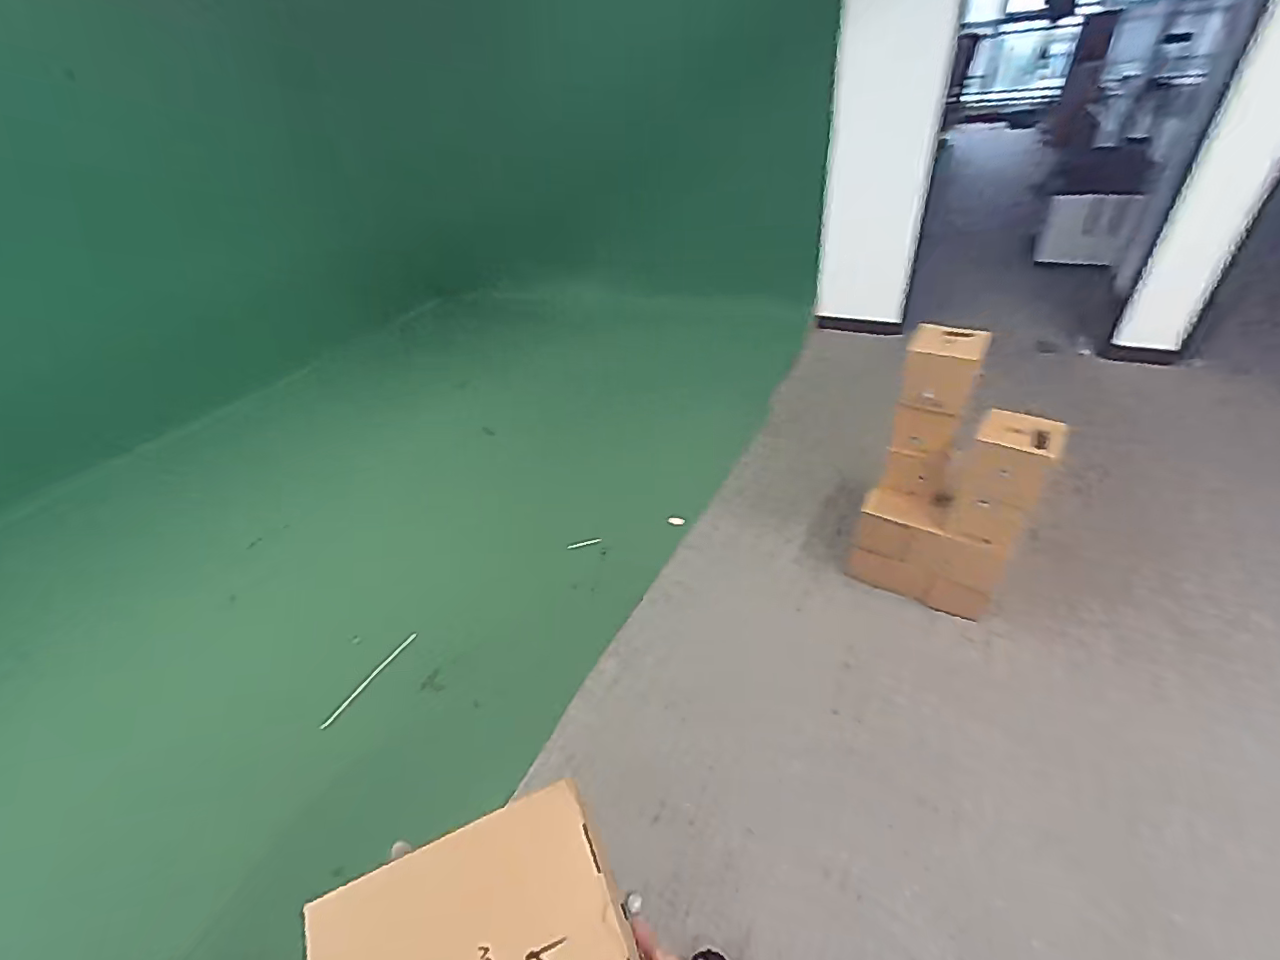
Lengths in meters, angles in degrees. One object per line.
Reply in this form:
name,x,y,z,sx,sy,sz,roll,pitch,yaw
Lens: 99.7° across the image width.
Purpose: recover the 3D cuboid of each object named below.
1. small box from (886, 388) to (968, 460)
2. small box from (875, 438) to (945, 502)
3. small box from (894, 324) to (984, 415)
small box,0.836,-0.185,1.586,0.168,0.176,0.179,18,46,29
small box,0.847,-0.056,1.687,0.168,0.176,0.179,18,44,29
small box,0.811,-0.304,1.477,0.168,0.176,0.179,18,46,30
